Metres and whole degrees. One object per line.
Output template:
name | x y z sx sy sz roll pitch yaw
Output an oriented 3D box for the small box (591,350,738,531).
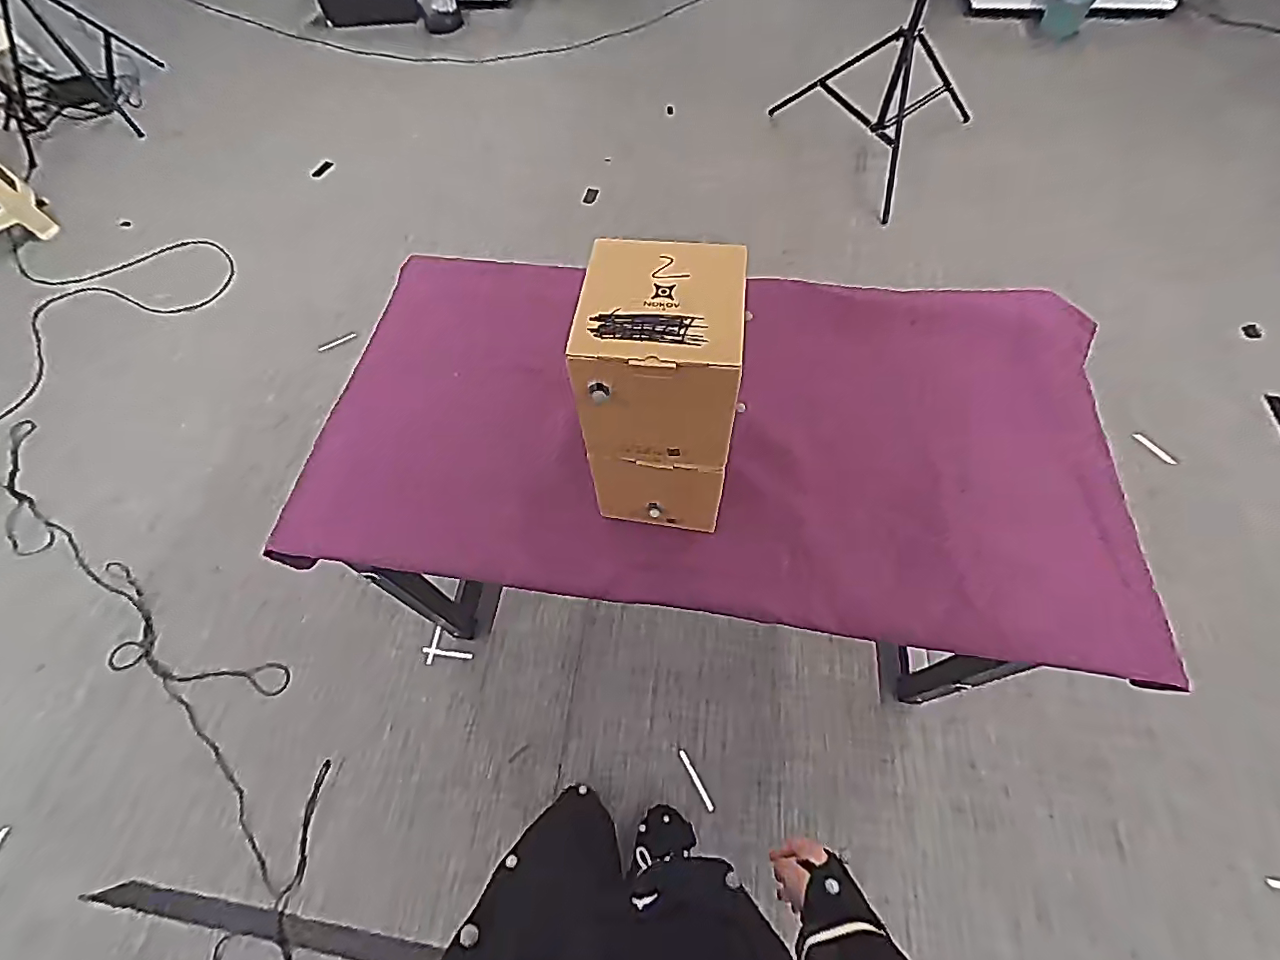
small box | 0.037 -0.051 0.750 0.168 0.176 0.179 8 61 8
